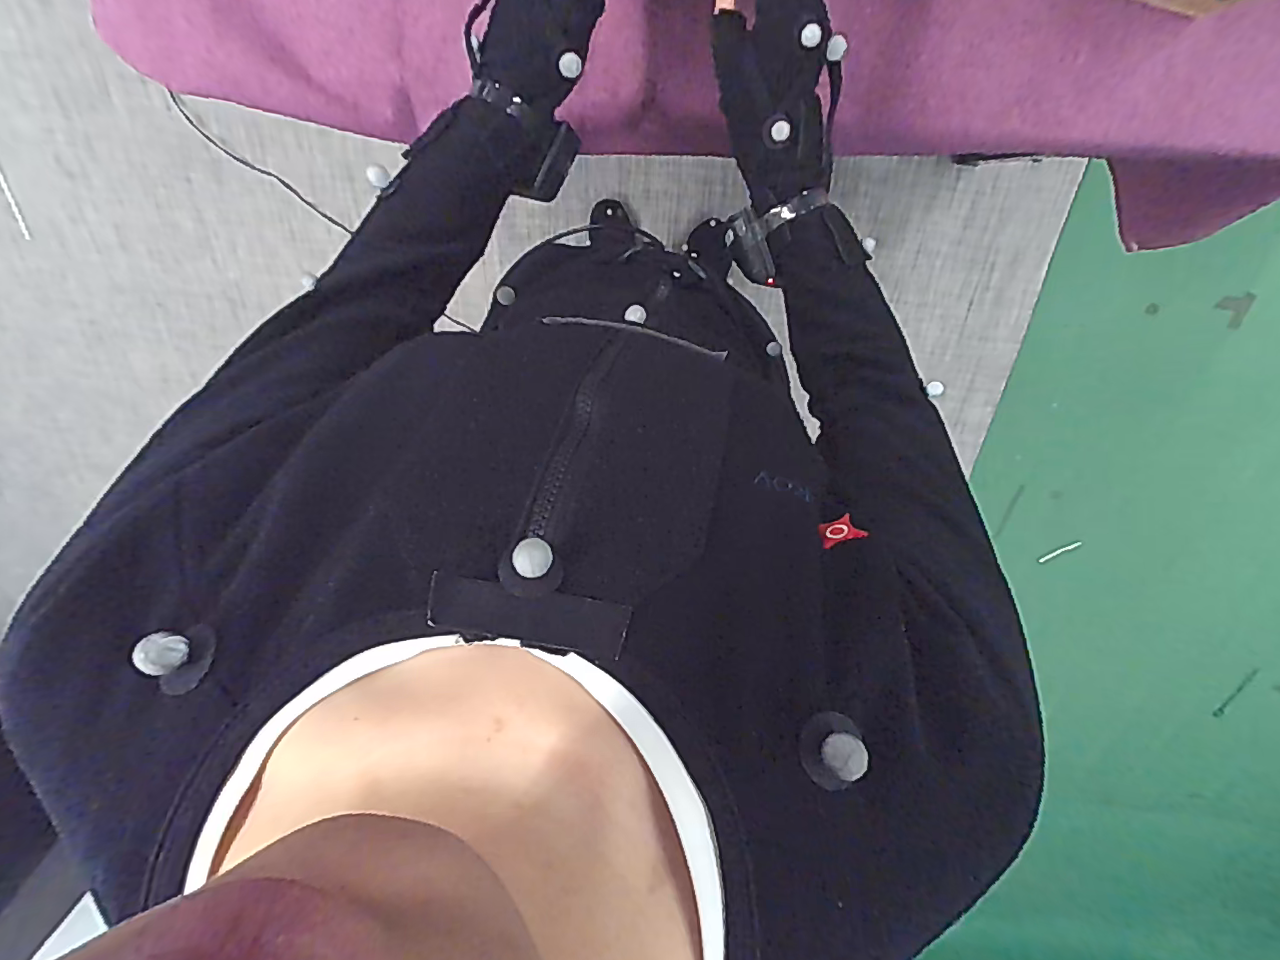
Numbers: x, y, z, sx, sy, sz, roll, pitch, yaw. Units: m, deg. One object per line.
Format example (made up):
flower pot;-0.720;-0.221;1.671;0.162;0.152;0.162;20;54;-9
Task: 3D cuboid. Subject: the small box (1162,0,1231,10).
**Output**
small box;0.444;-0.474;0.376;0.168;0.176;0.179;14;118;-3
